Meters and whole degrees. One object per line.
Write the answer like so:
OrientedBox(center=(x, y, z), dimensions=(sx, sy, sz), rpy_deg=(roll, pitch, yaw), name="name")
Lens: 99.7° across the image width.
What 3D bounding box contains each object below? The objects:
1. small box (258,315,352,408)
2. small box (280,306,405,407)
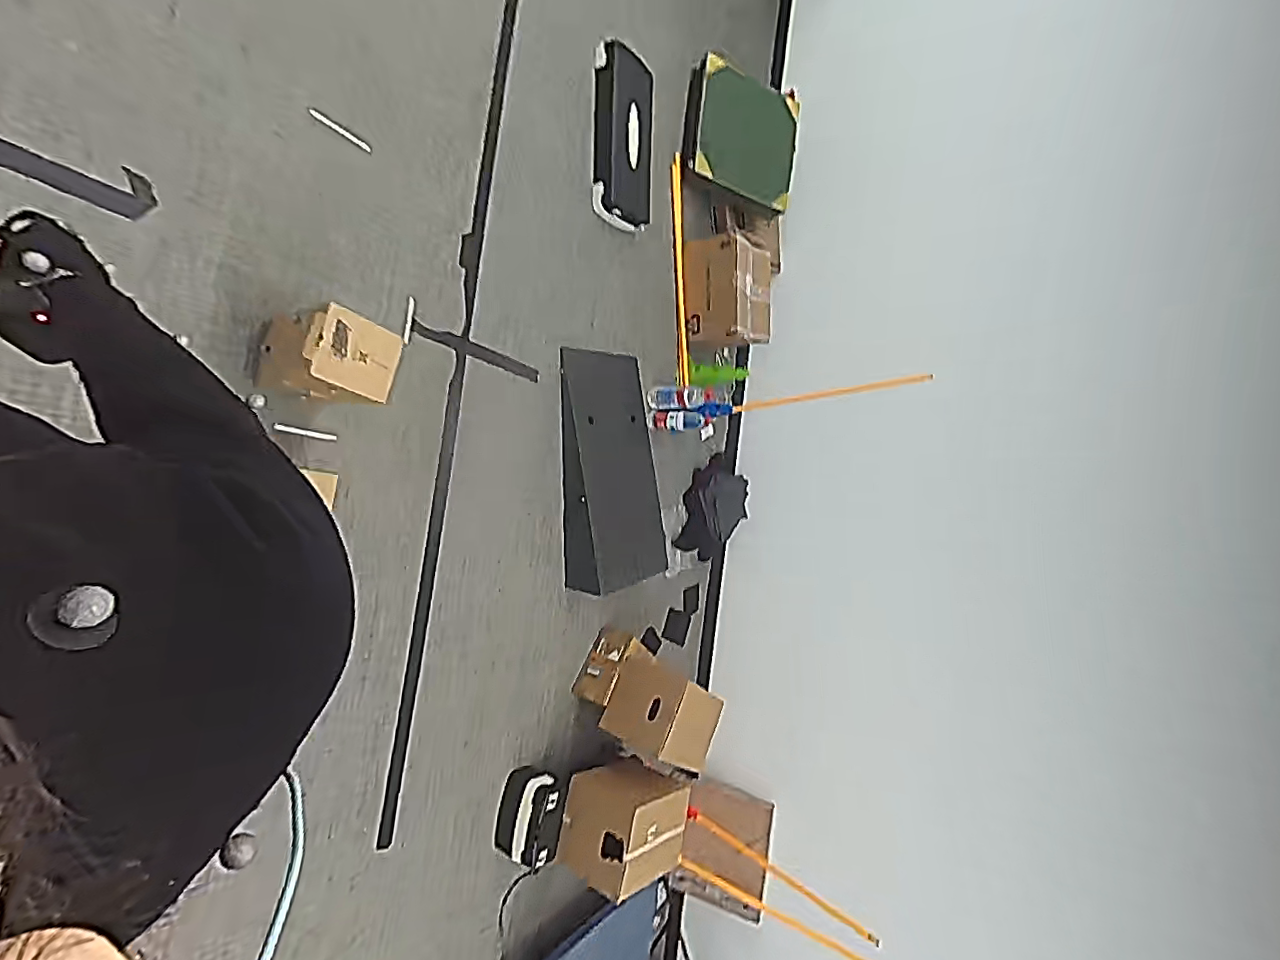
OrientedBox(center=(-0.806, -0.285, 1.330), dimensions=(0.168, 0.176, 0.179), rpy_deg=(17, 81, -54), name="small box")
OrientedBox(center=(-0.677, -0.270, 1.228), dimensions=(0.179, 0.176, 0.168), rpy_deg=(25, 74, -53), name="small box")
